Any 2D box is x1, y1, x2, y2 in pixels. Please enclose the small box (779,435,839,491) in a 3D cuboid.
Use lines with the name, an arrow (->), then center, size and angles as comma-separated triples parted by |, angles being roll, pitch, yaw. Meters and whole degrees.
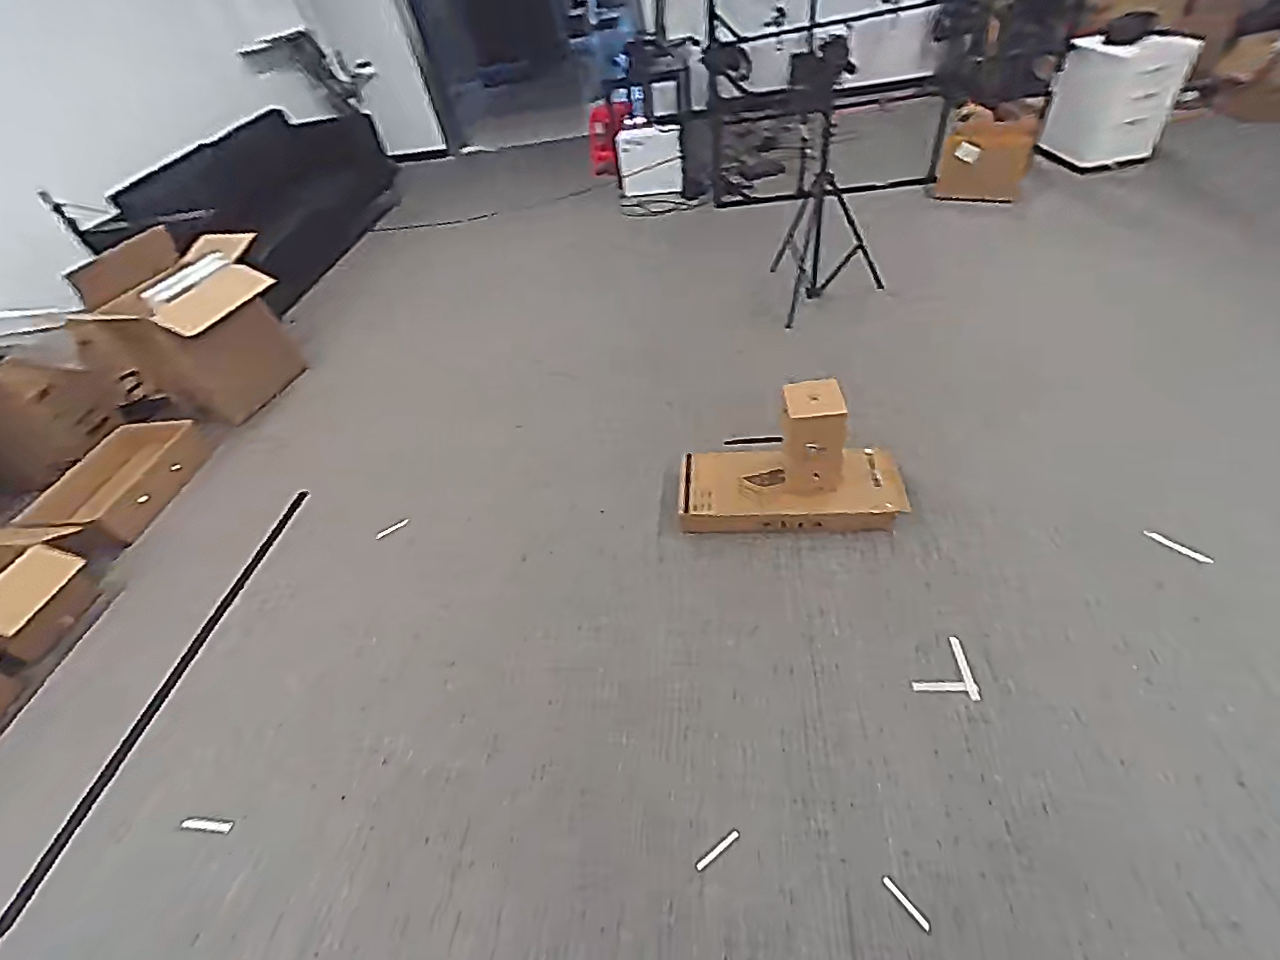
small box -> 0.561, -0.076, 1.808 | 0.168, 0.176, 0.179 | -4, 46, 8

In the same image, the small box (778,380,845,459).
small box -> 0.529, -0.188, 1.694 | 0.168, 0.176, 0.179 | -6, 46, 7
